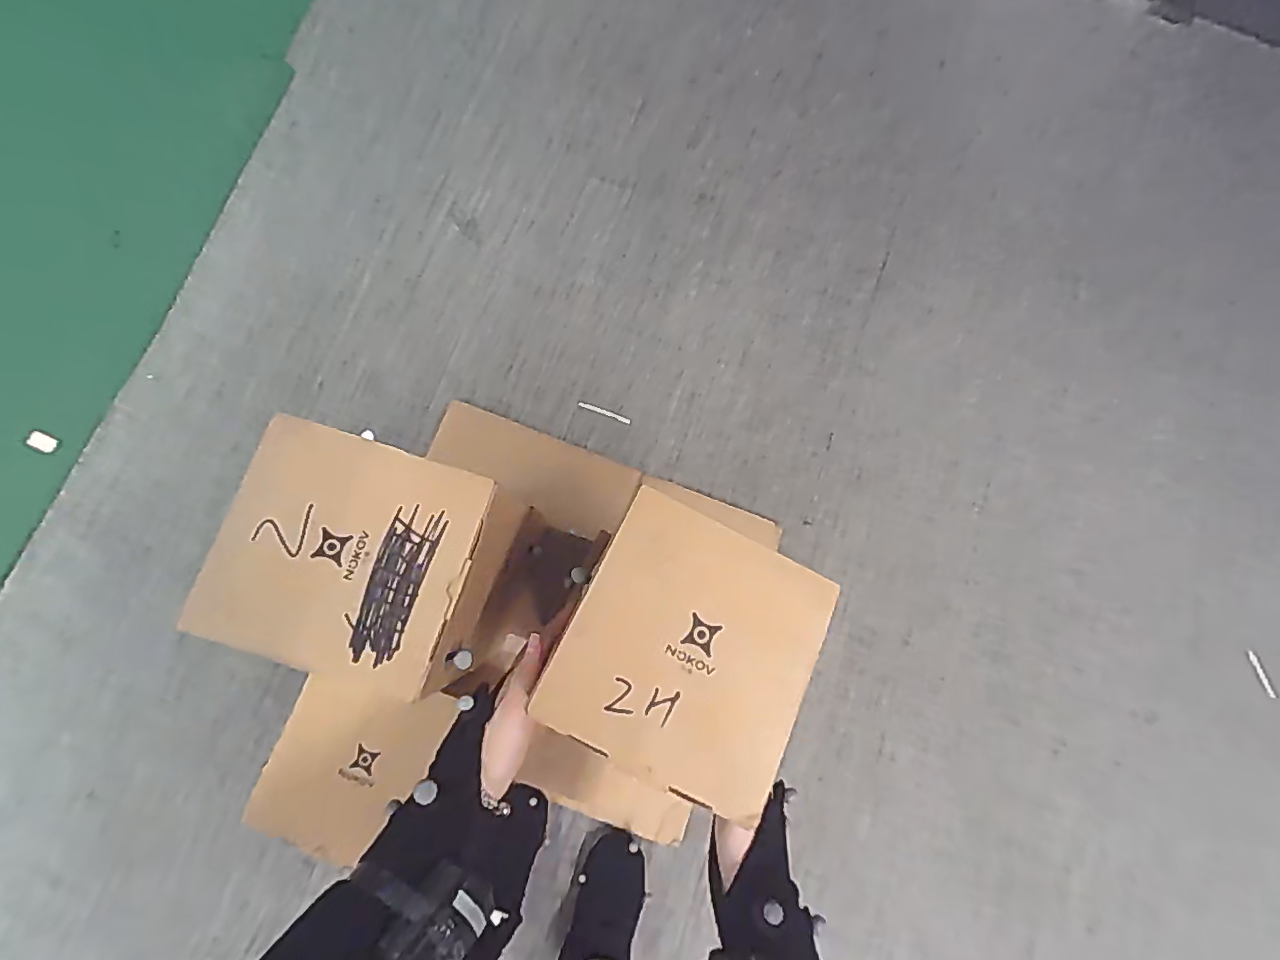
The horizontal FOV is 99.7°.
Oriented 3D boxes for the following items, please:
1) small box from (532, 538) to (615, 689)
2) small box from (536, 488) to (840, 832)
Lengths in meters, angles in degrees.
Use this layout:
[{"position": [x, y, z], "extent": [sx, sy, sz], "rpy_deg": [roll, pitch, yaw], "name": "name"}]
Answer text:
[{"position": [0.002, 0.179, 0.620], "extent": [0.179, 0.176, 0.168], "rpy_deg": [25, 79, 3], "name": "small box"}, {"position": [0.028, 0.136, 0.445], "extent": [0.168, 0.176, 0.179], "rpy_deg": [28, 72, 0], "name": "small box"}]
